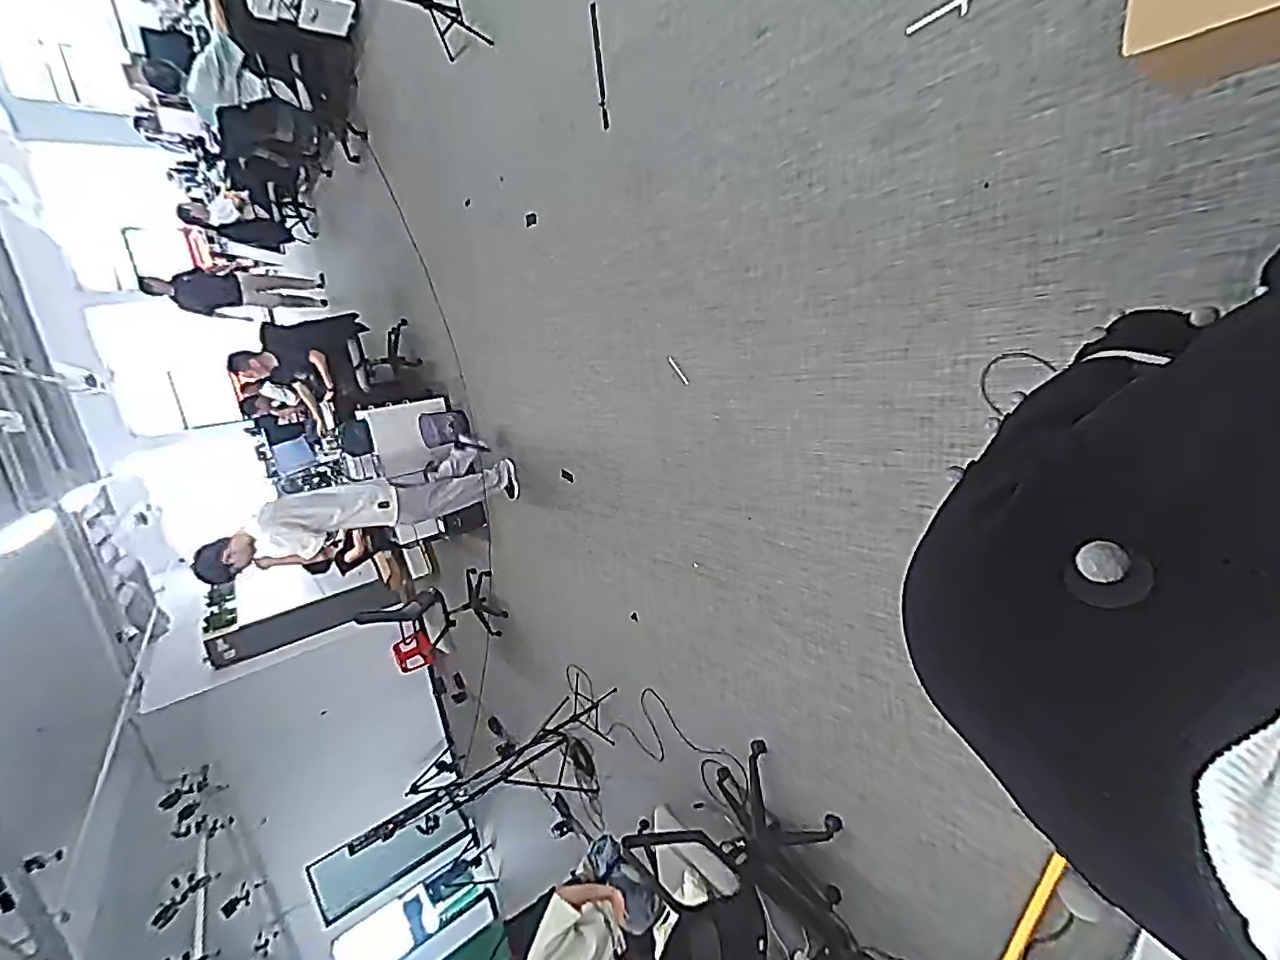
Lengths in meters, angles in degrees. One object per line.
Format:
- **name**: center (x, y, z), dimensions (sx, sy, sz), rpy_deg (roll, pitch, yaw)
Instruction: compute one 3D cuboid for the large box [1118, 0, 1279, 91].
- **large box**: center (0.899, -0.745, 0.658), dimensions (0.408, 0.320, 0.320), rpy_deg (14, 115, 50)
